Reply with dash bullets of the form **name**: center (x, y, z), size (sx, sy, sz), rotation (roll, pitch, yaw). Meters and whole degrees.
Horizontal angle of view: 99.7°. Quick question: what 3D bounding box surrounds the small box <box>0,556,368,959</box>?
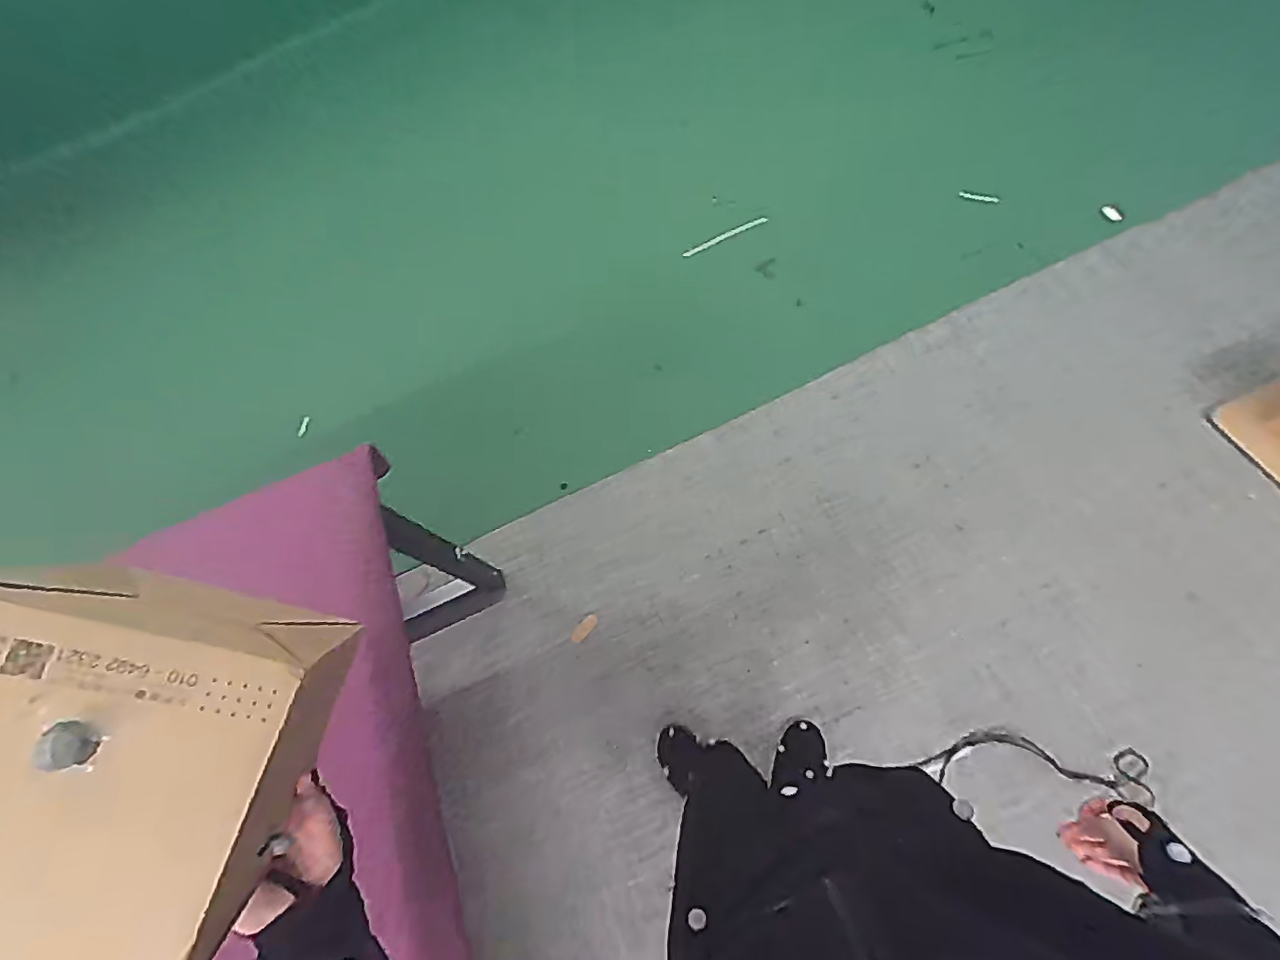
- **small box**: center (-0.274, 0.144, 0.299), size (0.168, 0.179, 0.176), rotation (21, 76, -15)
